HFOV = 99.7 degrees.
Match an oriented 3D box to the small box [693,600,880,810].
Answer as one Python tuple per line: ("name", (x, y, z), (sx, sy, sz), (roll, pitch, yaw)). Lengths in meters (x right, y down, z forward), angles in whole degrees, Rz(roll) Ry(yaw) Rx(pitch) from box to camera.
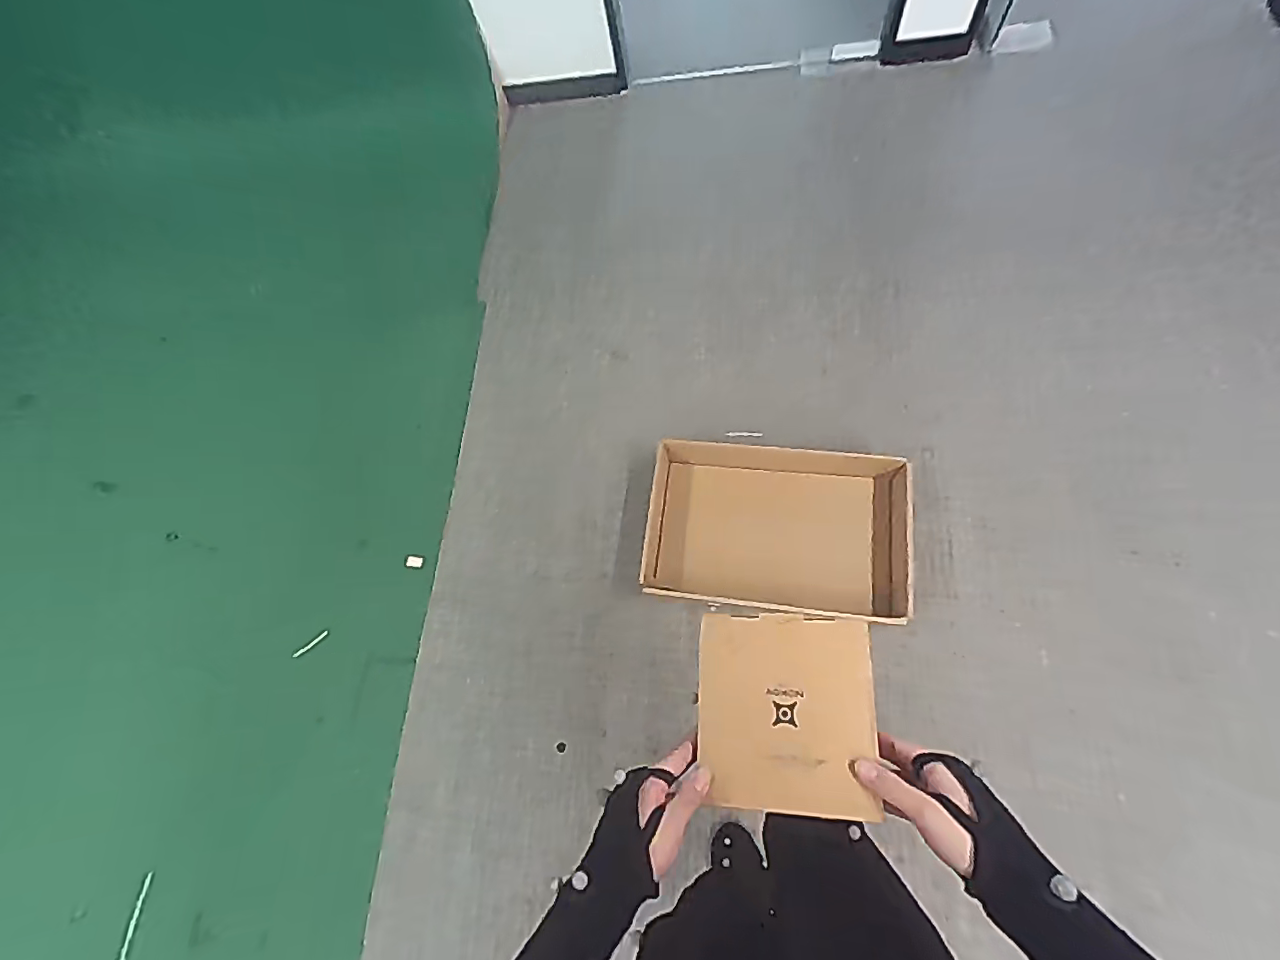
("small box", (0.149, 0.235, 0.586), (0.168, 0.176, 0.179), (0, 69, 11))
